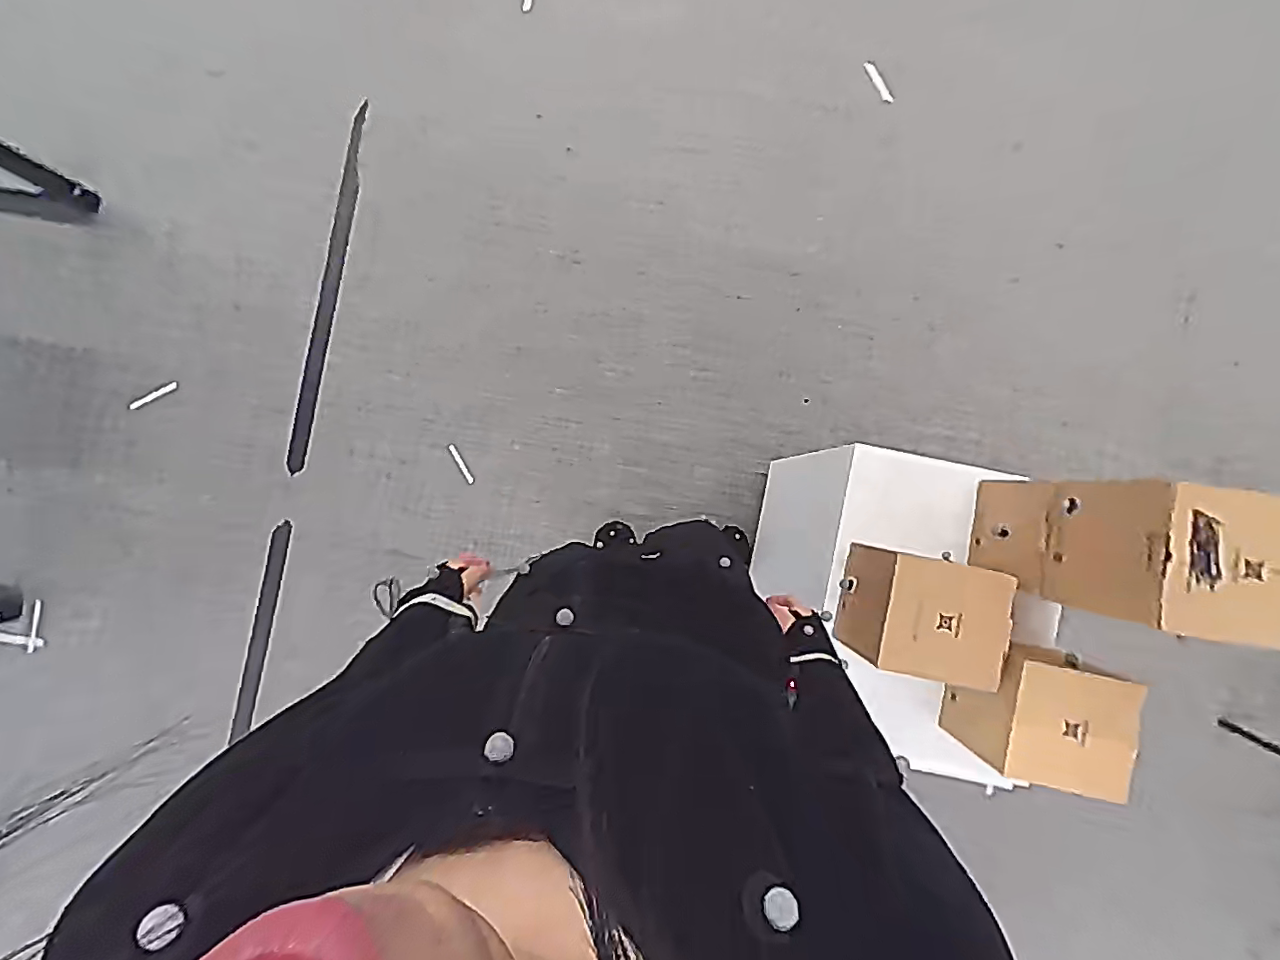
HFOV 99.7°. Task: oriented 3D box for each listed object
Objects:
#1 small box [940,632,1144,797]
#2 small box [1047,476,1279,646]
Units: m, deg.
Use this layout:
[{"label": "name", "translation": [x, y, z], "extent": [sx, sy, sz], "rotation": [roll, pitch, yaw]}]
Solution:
[{"label": "small box", "translation": [0.595, 0.342, 0.824], "extent": [0.179, 0.176, 0.168], "rotation": [12, 88, 0]}, {"label": "small box", "translation": [0.648, 0.091, 0.661], "extent": [0.179, 0.176, 0.168], "rotation": [9, 90, 0]}]
